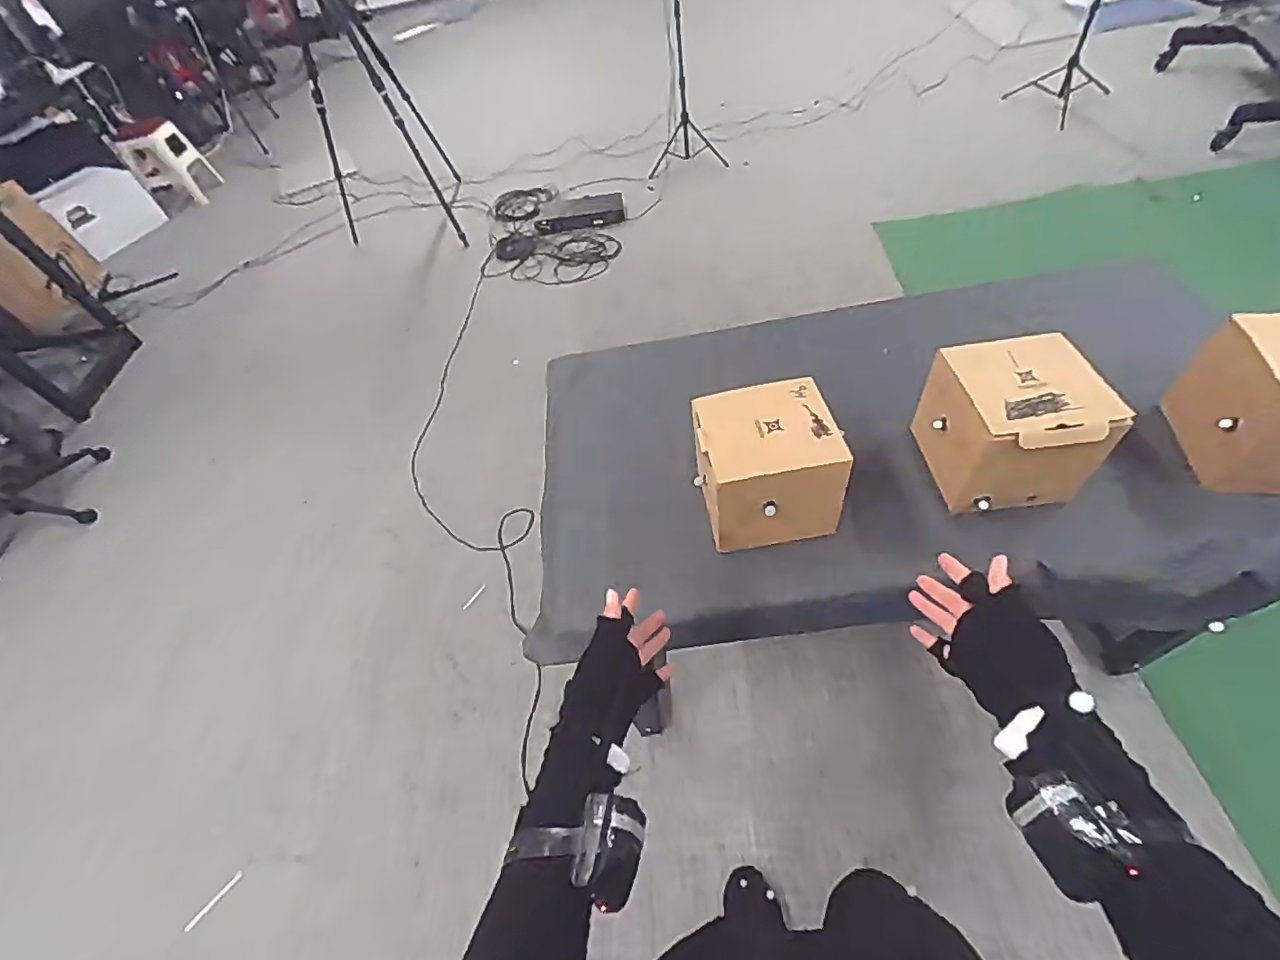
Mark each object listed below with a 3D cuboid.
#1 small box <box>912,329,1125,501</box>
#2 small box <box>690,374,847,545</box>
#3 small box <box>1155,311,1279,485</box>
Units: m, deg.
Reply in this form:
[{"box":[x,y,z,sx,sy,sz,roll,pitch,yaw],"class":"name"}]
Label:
[{"box":[0.514,-0.083,0.769,0.168,0.176,0.179,-7,52,5],"class":"small box"},{"box":[0.179,-0.023,0.785,0.179,0.176,0.168,-11,51,3],"class":"small box"},{"box":[0.857,-0.105,0.721,0.168,0.176,0.179,3,53,12],"class":"small box"}]
